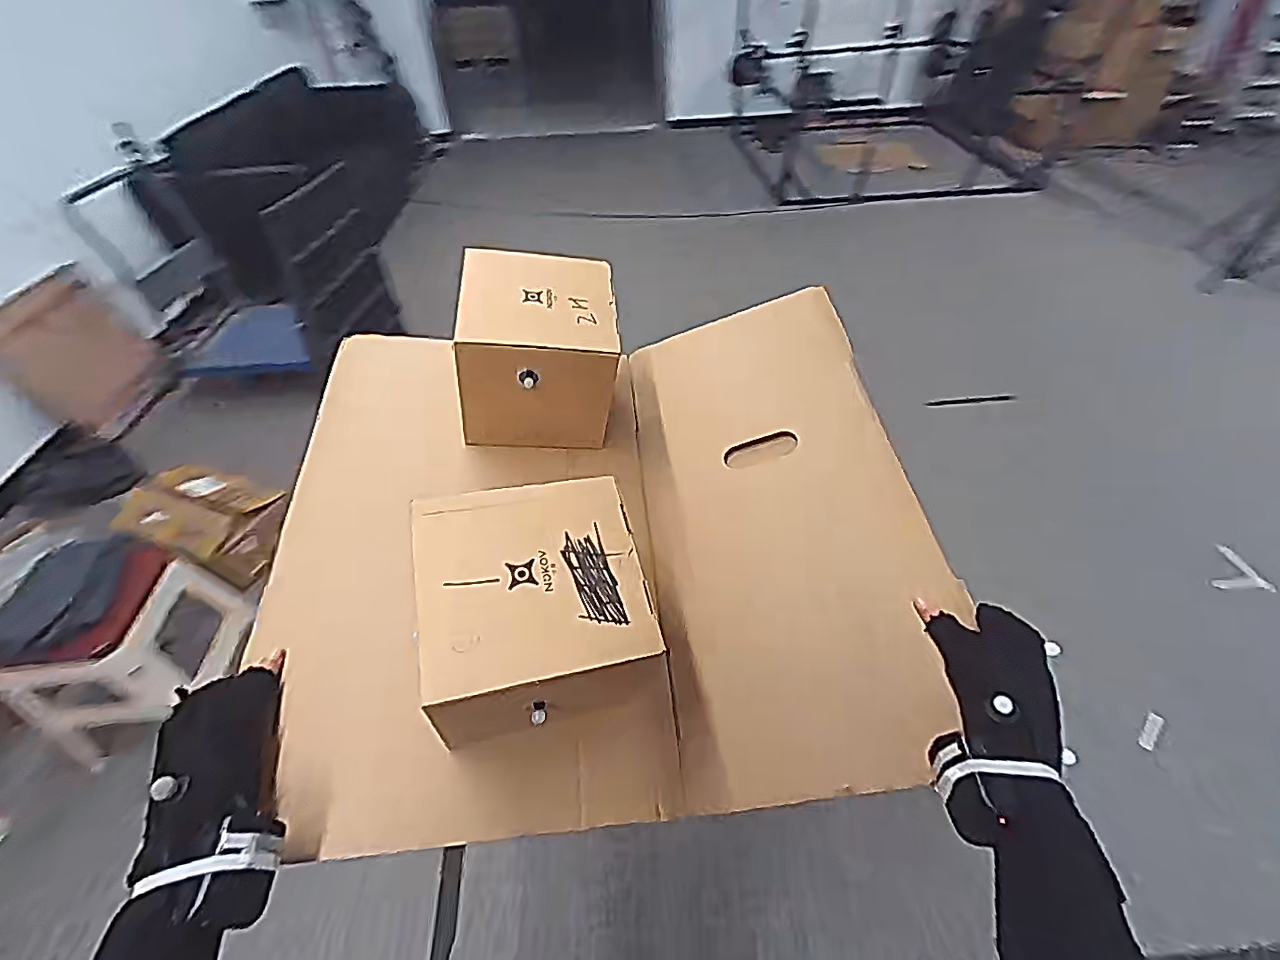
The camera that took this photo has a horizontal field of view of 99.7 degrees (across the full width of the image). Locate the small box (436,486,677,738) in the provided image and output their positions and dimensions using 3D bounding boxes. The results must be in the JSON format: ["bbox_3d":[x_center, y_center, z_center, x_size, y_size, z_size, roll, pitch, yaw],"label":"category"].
[{"bbox_3d":[-0.085,0.124,0.499,0.179,0.176,0.168,-6,57,-16],"label":"small box"}]
